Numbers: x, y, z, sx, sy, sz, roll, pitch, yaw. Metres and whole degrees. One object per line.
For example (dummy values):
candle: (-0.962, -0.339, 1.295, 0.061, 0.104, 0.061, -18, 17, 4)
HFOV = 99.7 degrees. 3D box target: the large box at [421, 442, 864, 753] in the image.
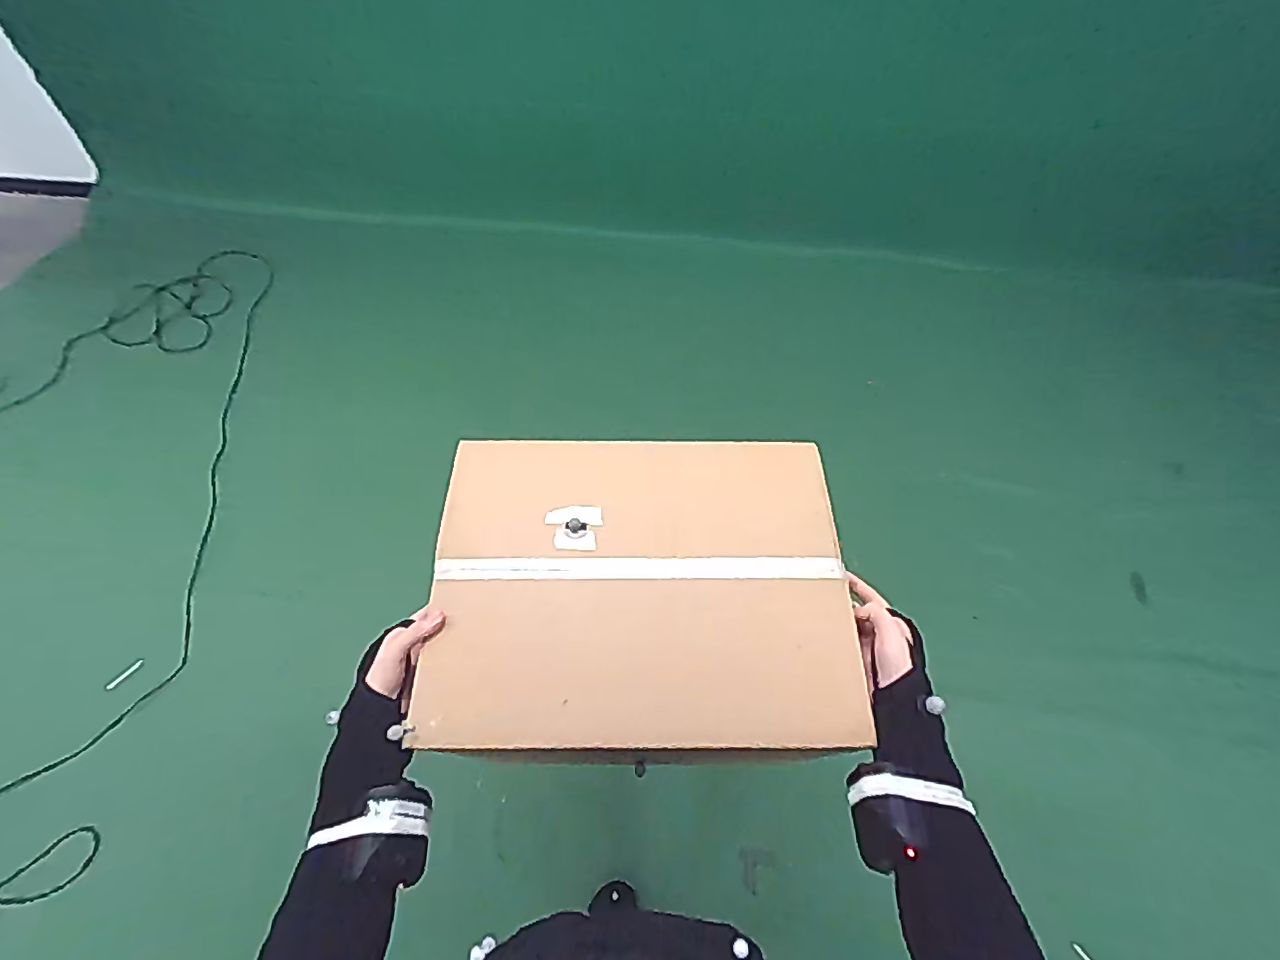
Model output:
large box: (0.003, 0.165, 0.681, 0.408, 0.320, 0.320, 0, 60, 0)
